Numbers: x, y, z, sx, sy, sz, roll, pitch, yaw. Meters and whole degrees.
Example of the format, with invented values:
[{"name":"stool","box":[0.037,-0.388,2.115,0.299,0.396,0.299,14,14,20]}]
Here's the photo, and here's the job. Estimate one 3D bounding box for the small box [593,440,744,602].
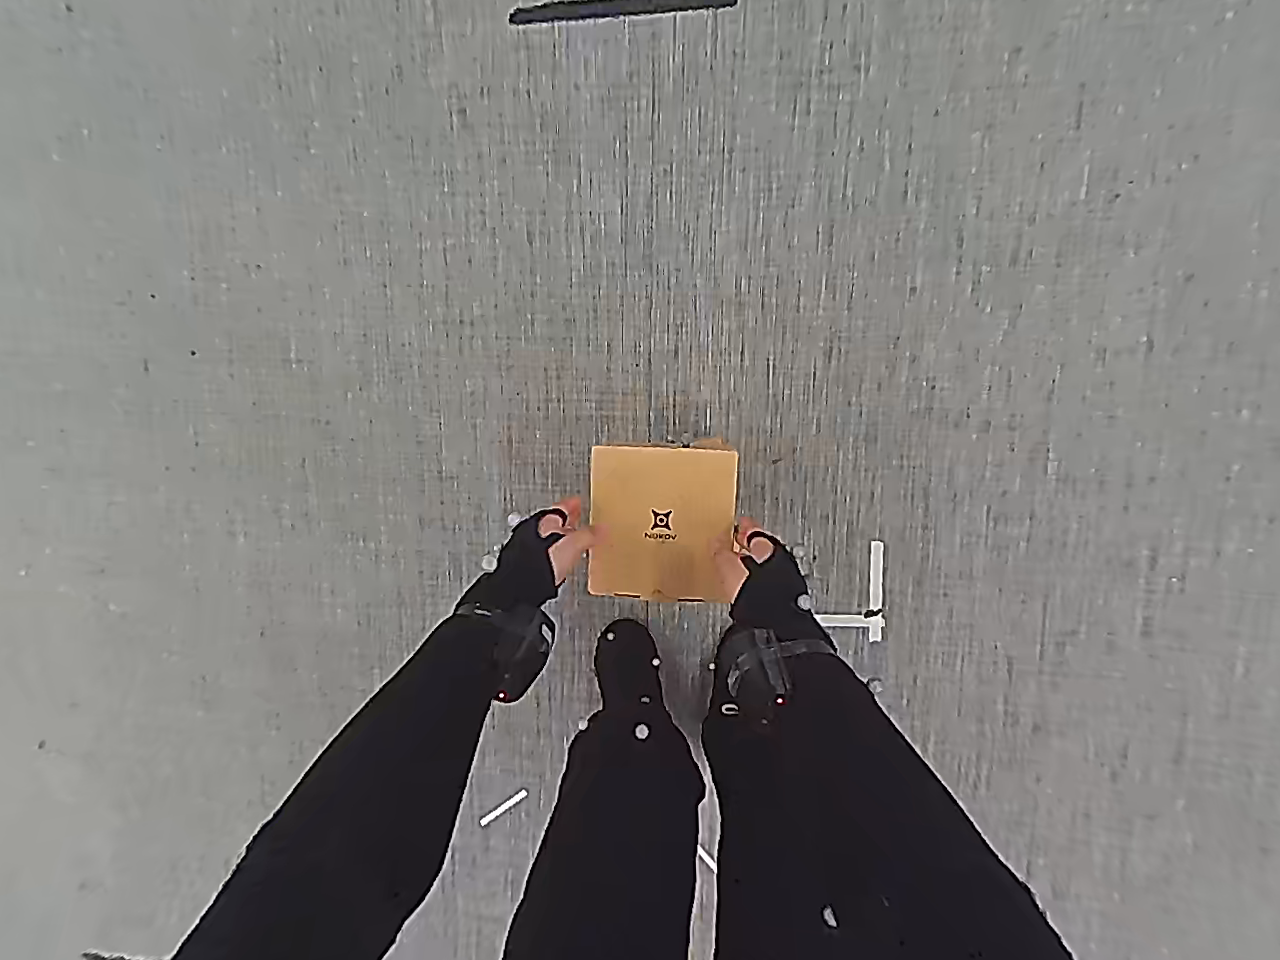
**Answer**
[{"name":"small box","box":[0.037,0.040,0.683,0.168,0.176,0.179,2,97,6]}]
